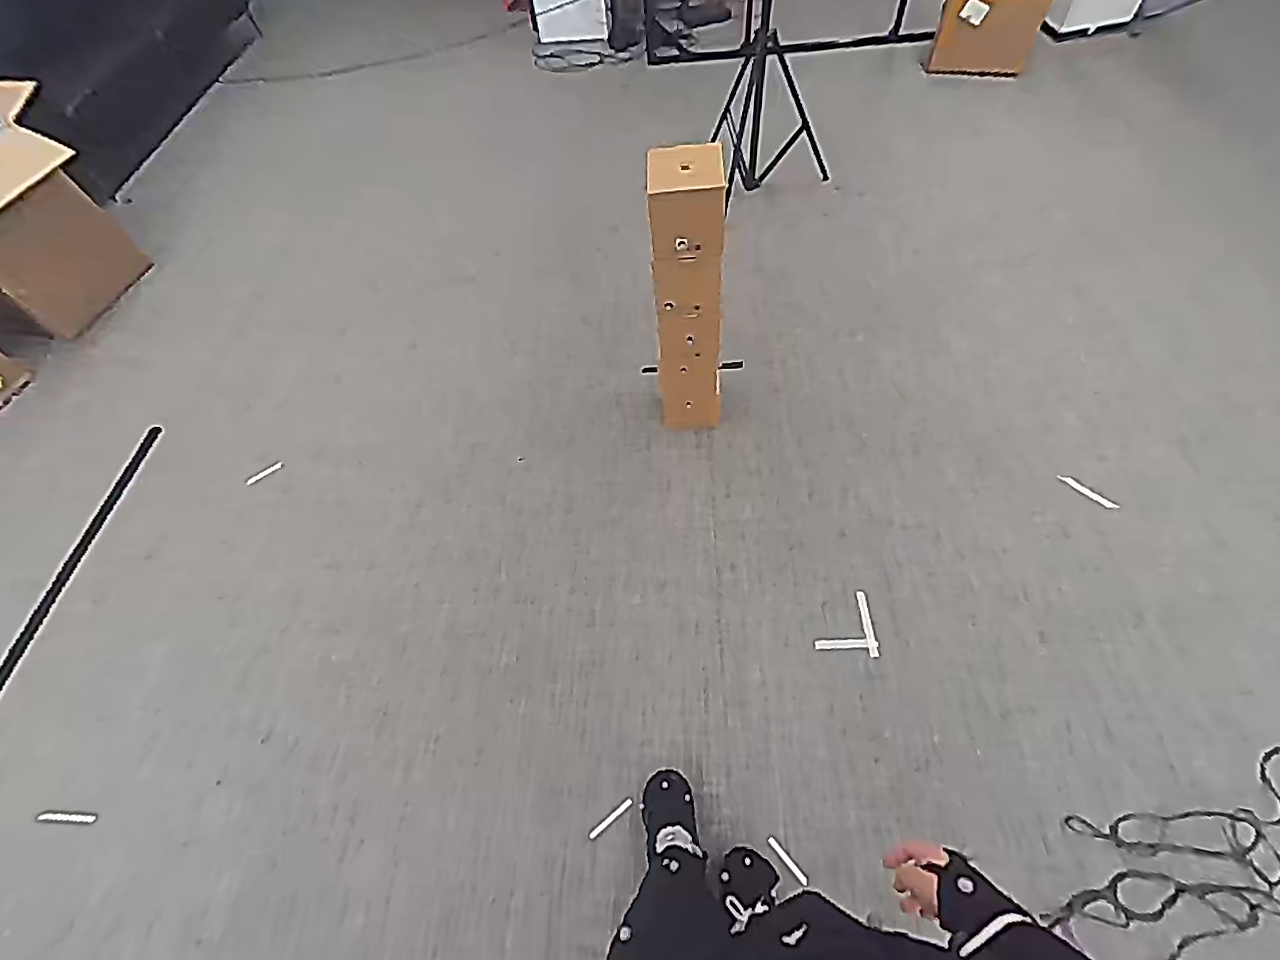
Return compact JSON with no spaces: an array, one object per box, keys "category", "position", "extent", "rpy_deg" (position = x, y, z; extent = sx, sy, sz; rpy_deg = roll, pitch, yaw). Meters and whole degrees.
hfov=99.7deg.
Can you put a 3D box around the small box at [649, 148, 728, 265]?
[{"category":"small box","position":[0.109,-0.617,1.228],"extent":[0.168,0.176,0.179],"rpy_deg":[-3,59,6]}]

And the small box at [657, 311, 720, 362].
[{"category":"small box","position":[0.139,-0.444,1.503],"extent":[0.168,0.176,0.179],"rpy_deg":[0,59,6]}]

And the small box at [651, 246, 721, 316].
[{"category":"small box","position":[0.121,-0.532,1.365],"extent":[0.168,0.176,0.179],"rpy_deg":[-1,58,6]}]

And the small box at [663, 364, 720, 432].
[{"category":"small box","position":[0.168,-0.272,1.781],"extent":[0.179,0.176,0.168],"rpy_deg":[-1,58,5]}]

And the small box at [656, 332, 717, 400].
[{"category":"small box","position":[0.145,-0.355,1.641],"extent":[0.179,0.176,0.168],"rpy_deg":[1,59,7]}]
